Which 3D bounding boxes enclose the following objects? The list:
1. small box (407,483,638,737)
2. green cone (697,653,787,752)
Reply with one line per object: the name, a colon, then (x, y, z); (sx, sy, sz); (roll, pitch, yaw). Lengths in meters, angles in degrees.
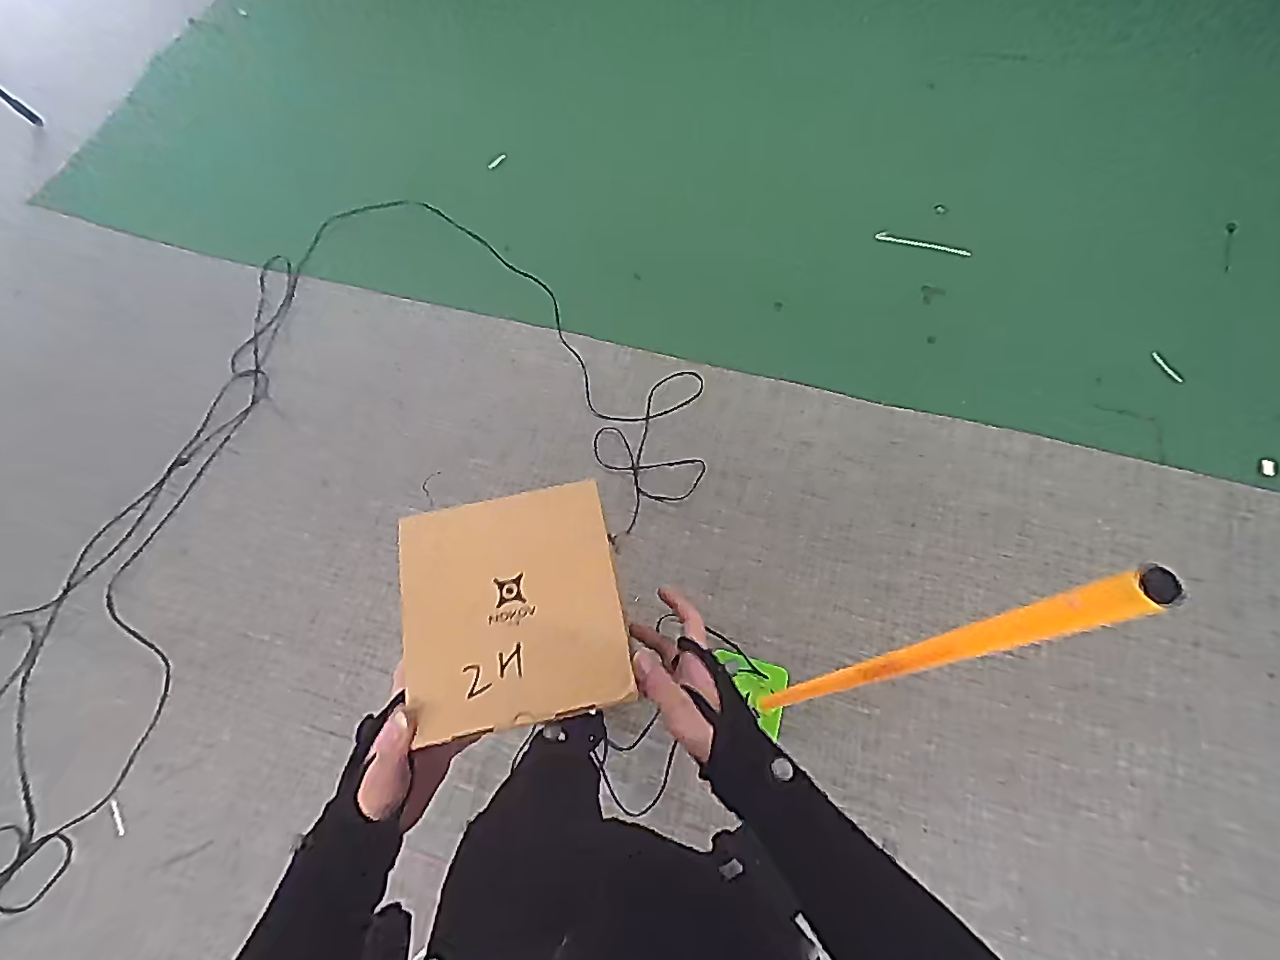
small box: (-0.097, 0.124, 0.494); (0.168, 0.176, 0.179); (-10, 68, -2)
green cone: (0.252, 0.504, 1.225); (0.202, 0.368, 0.200); (14, 70, 9)
